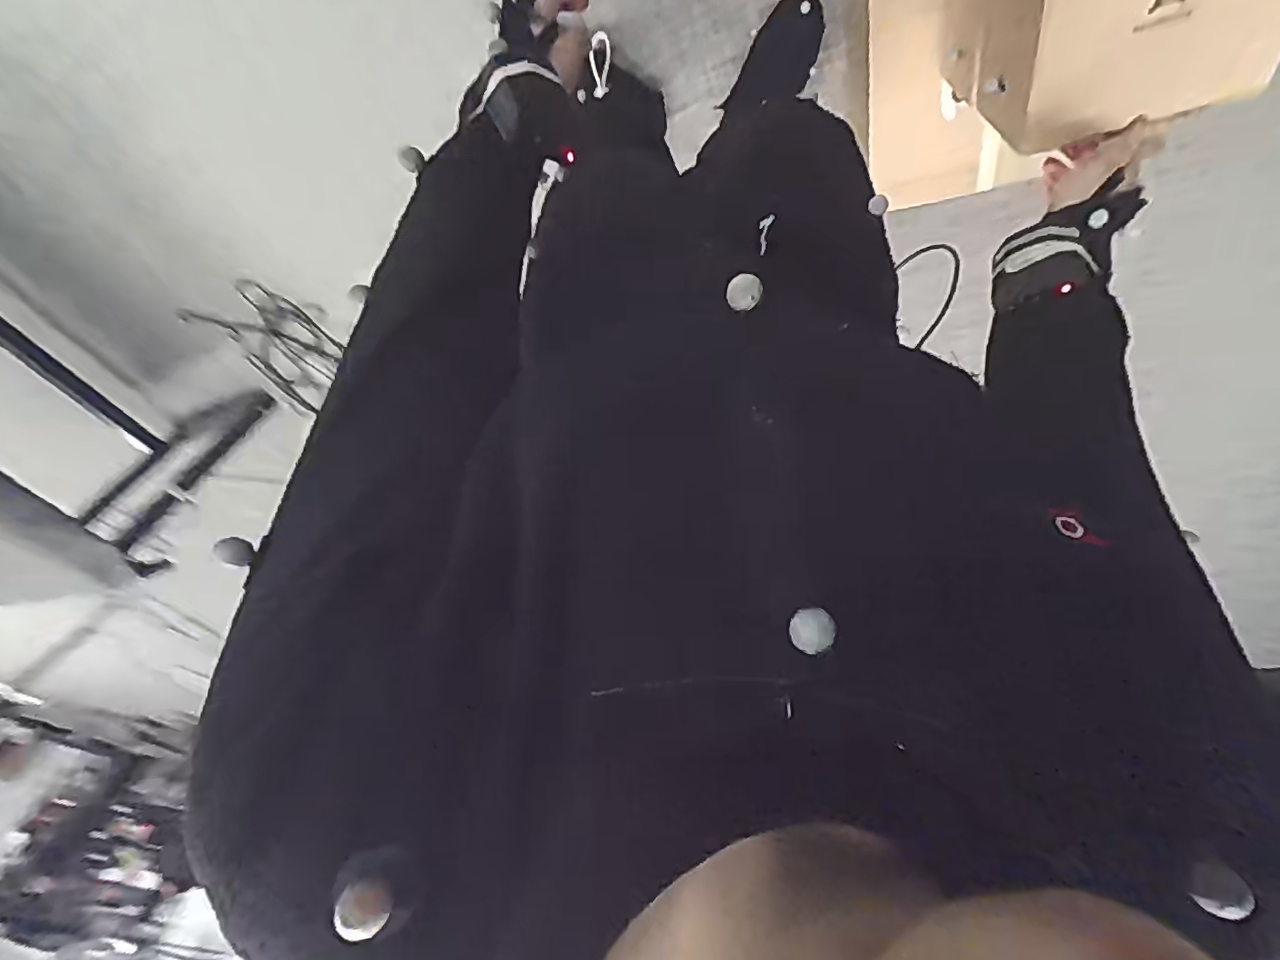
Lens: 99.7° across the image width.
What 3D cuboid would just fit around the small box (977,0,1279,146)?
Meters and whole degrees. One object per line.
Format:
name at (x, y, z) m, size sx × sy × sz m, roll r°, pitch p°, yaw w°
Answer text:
small box at (0.393, -0.416, 0.443) m, size 0.168 × 0.176 × 0.179 m, roll -6°, pitch 134°, yaw 20°

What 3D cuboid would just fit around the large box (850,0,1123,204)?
large box at (0.467, -0.680, 0.748) m, size 0.320 × 0.320 × 0.408 m, roll -4°, pitch 136°, yaw 20°
